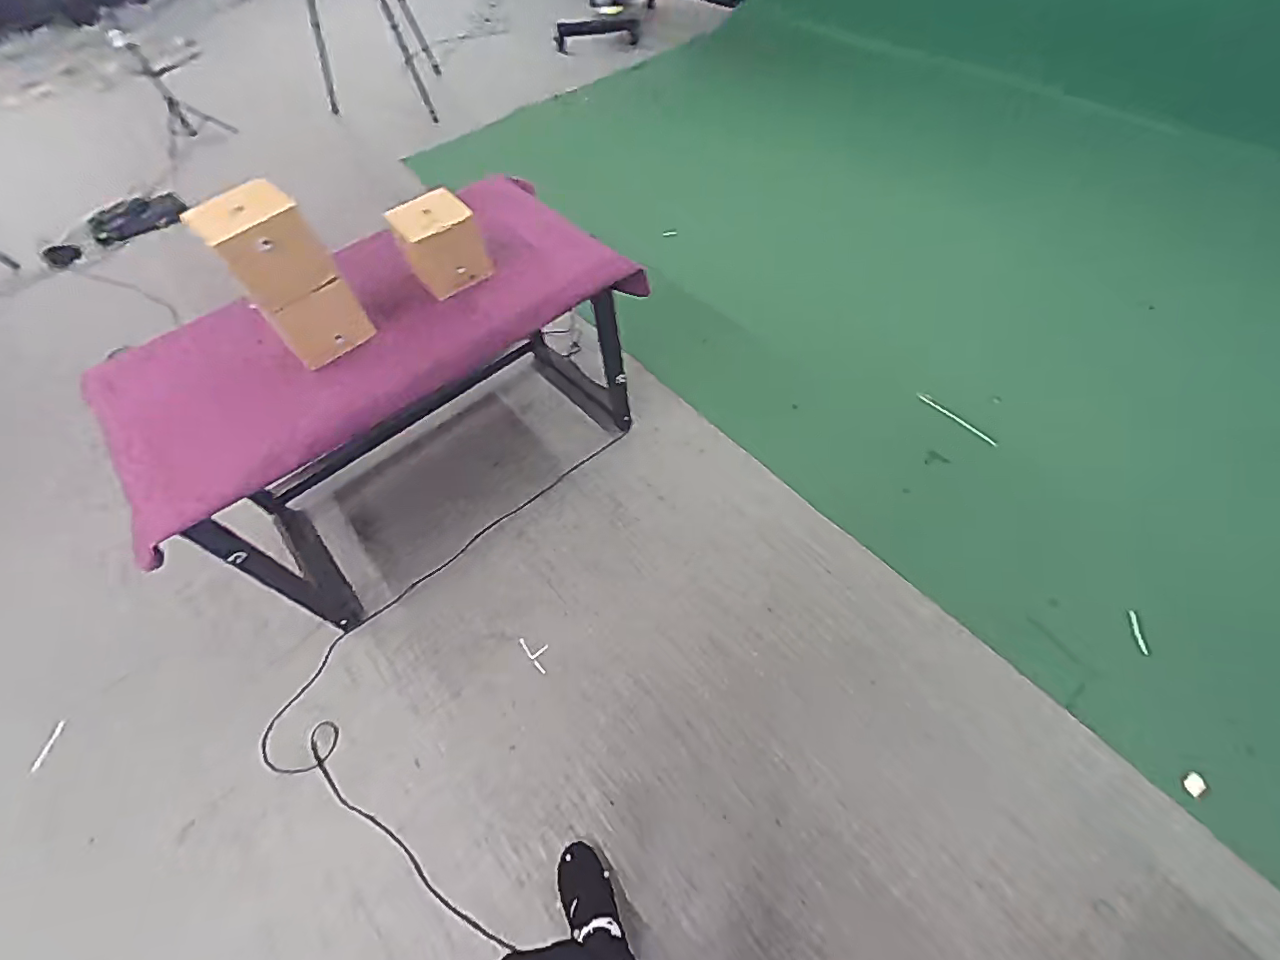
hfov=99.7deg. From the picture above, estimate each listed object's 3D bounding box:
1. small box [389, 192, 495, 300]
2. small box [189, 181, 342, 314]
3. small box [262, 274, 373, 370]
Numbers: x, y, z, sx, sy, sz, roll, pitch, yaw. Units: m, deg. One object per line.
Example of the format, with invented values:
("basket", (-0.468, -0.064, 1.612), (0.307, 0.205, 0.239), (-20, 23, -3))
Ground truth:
("small box", (-0.501, -0.594, 1.381), (0.168, 0.176, 0.179), (-35, 60, -16))
("small box", (-0.776, -0.483, 1.136), (0.179, 0.176, 0.168), (-41, 63, -20))
("small box", (-0.762, -0.395, 1.273), (0.179, 0.176, 0.168), (-40, 62, -20))
